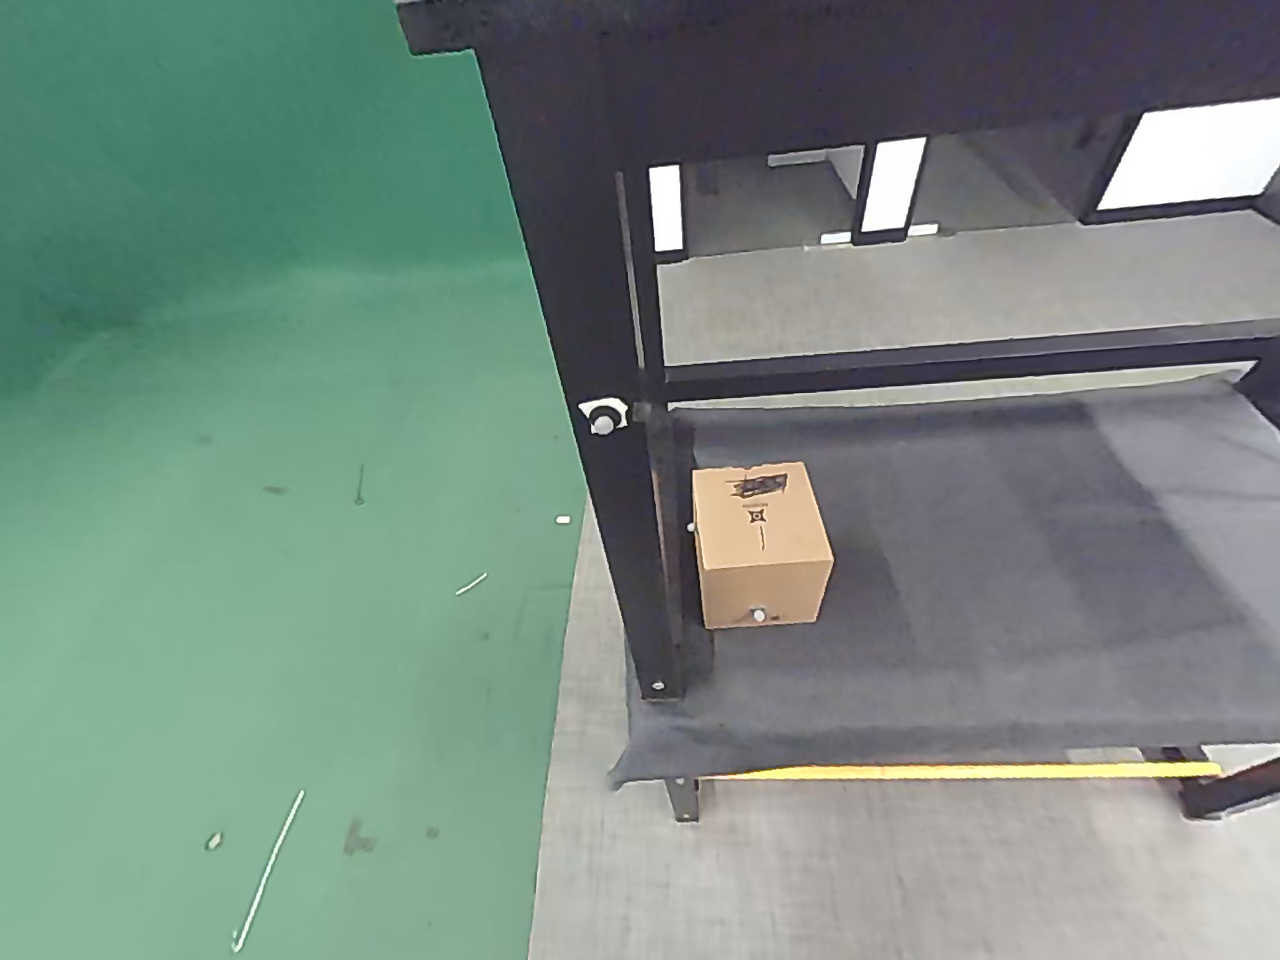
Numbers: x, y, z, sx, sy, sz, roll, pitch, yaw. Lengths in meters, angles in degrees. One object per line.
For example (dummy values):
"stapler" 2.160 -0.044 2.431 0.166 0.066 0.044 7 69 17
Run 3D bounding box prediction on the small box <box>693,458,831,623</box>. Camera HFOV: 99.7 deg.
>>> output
"small box" 0.166 0.090 0.798 0.168 0.176 0.179 -5 48 4
